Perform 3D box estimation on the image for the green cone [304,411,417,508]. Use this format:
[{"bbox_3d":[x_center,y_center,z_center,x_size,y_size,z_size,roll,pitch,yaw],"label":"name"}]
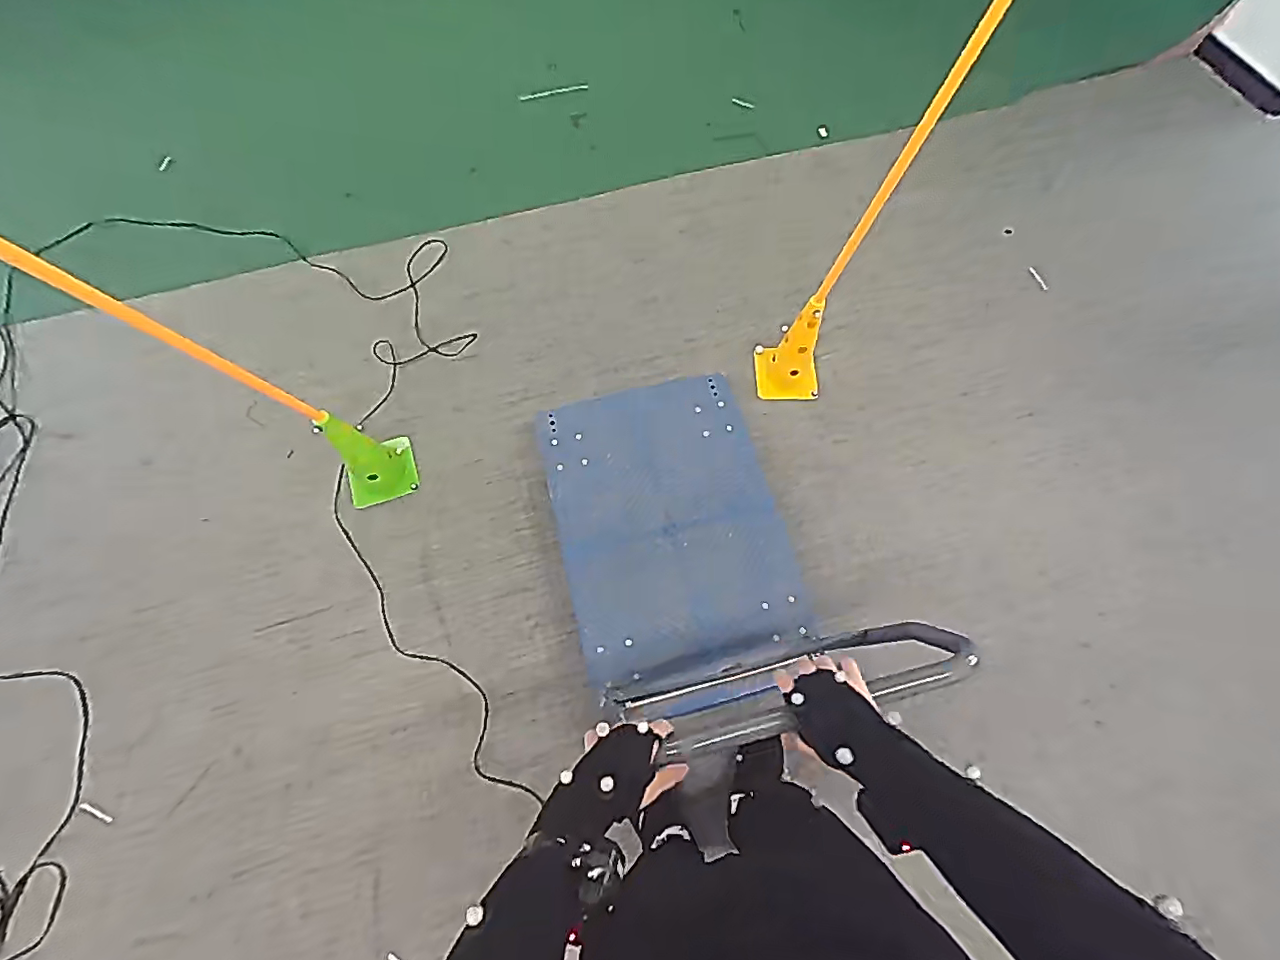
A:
[{"bbox_3d":[-0.801,-0.093,1.499,0.202,0.368,0.200,-20,69,-6],"label":"green cone"}]
